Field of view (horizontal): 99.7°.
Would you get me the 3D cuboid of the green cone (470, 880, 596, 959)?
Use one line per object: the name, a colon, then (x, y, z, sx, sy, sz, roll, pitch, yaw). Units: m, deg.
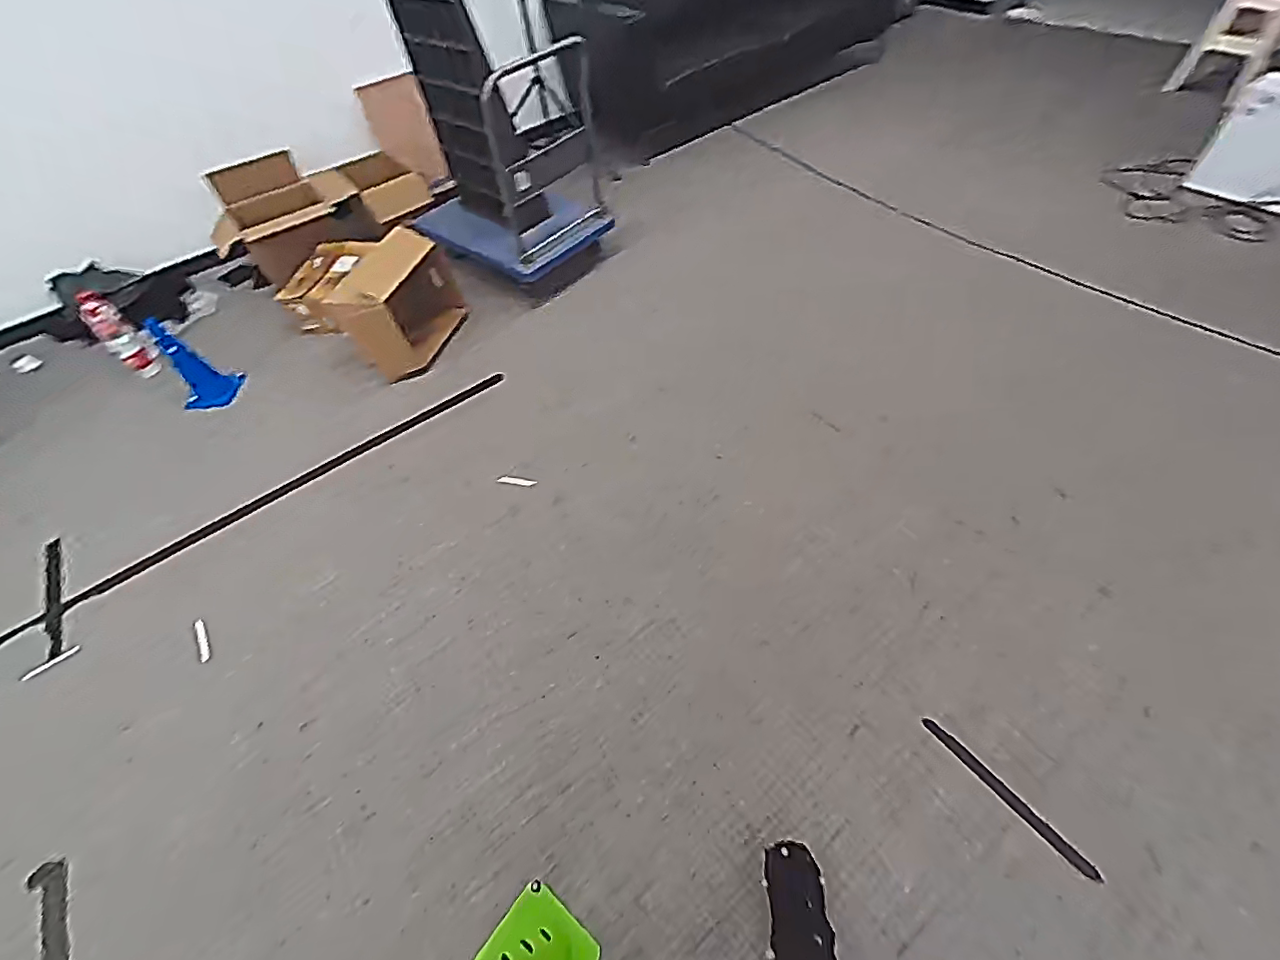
green cone: (-0.230, 0.852, 0.936, 0.202, 0.368, 0.200, 30, 62, 25)
